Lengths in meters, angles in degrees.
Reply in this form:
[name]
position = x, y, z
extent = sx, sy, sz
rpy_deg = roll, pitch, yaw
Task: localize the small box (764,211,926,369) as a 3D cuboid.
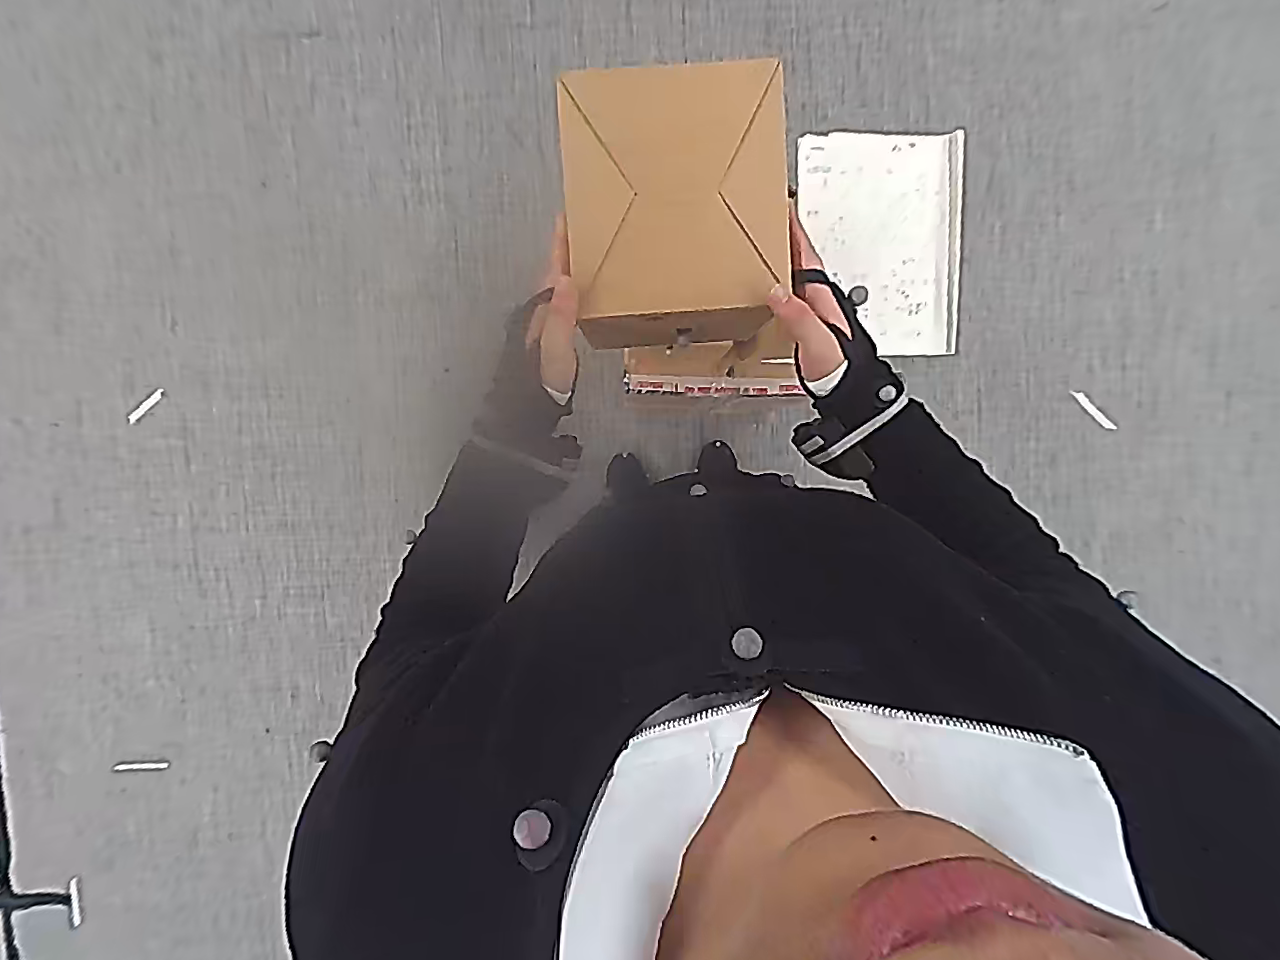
[small box]
position = 0.279, -0.258, 0.768
extent = 0.168, 0.176, 0.179
rpy_deg = -1, 95, -2
